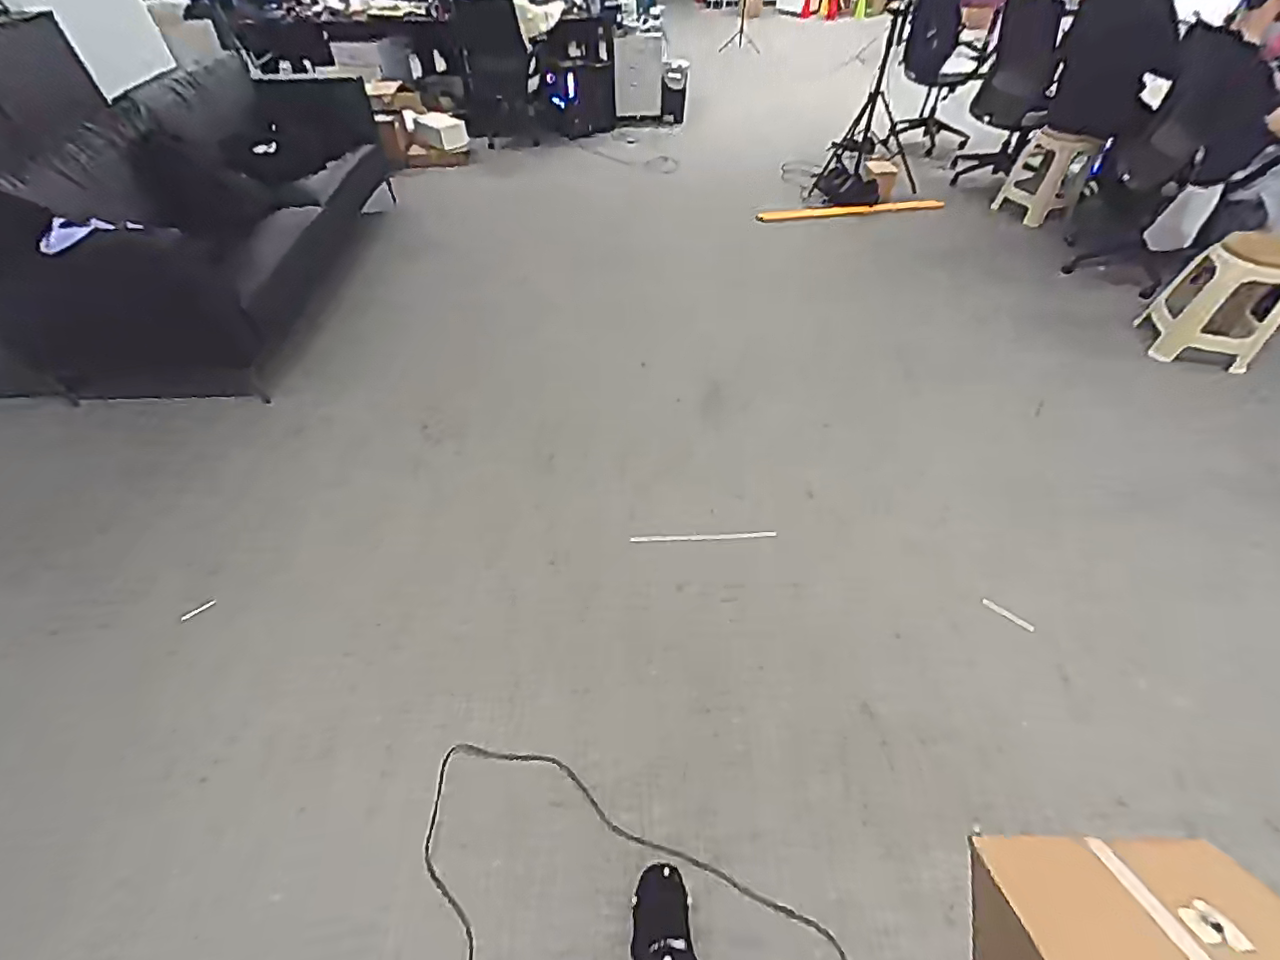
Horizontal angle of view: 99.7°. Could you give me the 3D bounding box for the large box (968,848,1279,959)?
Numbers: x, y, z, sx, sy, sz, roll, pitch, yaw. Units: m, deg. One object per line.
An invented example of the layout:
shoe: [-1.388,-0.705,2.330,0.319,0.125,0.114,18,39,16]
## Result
large box: [0.615,0.697,0.583,0.320,0.320,0.408,-3,5,8]
